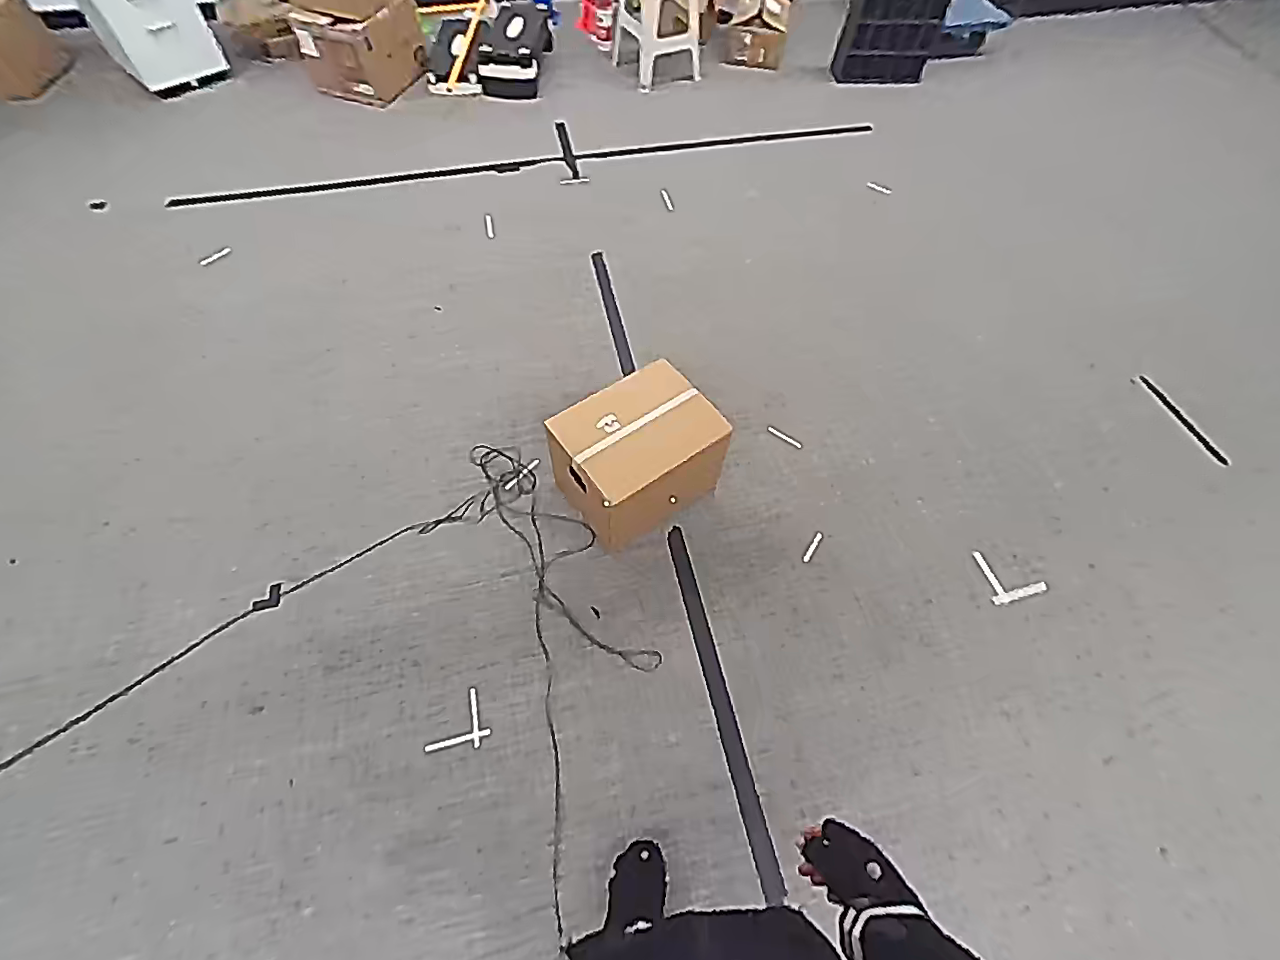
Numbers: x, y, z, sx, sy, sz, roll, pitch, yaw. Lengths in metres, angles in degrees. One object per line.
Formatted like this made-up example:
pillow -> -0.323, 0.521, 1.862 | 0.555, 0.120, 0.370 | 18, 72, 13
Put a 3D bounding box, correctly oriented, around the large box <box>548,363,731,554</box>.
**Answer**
large box -> -0.005, -0.058, 1.565 | 0.408, 0.320, 0.320 | -32, 65, -18
